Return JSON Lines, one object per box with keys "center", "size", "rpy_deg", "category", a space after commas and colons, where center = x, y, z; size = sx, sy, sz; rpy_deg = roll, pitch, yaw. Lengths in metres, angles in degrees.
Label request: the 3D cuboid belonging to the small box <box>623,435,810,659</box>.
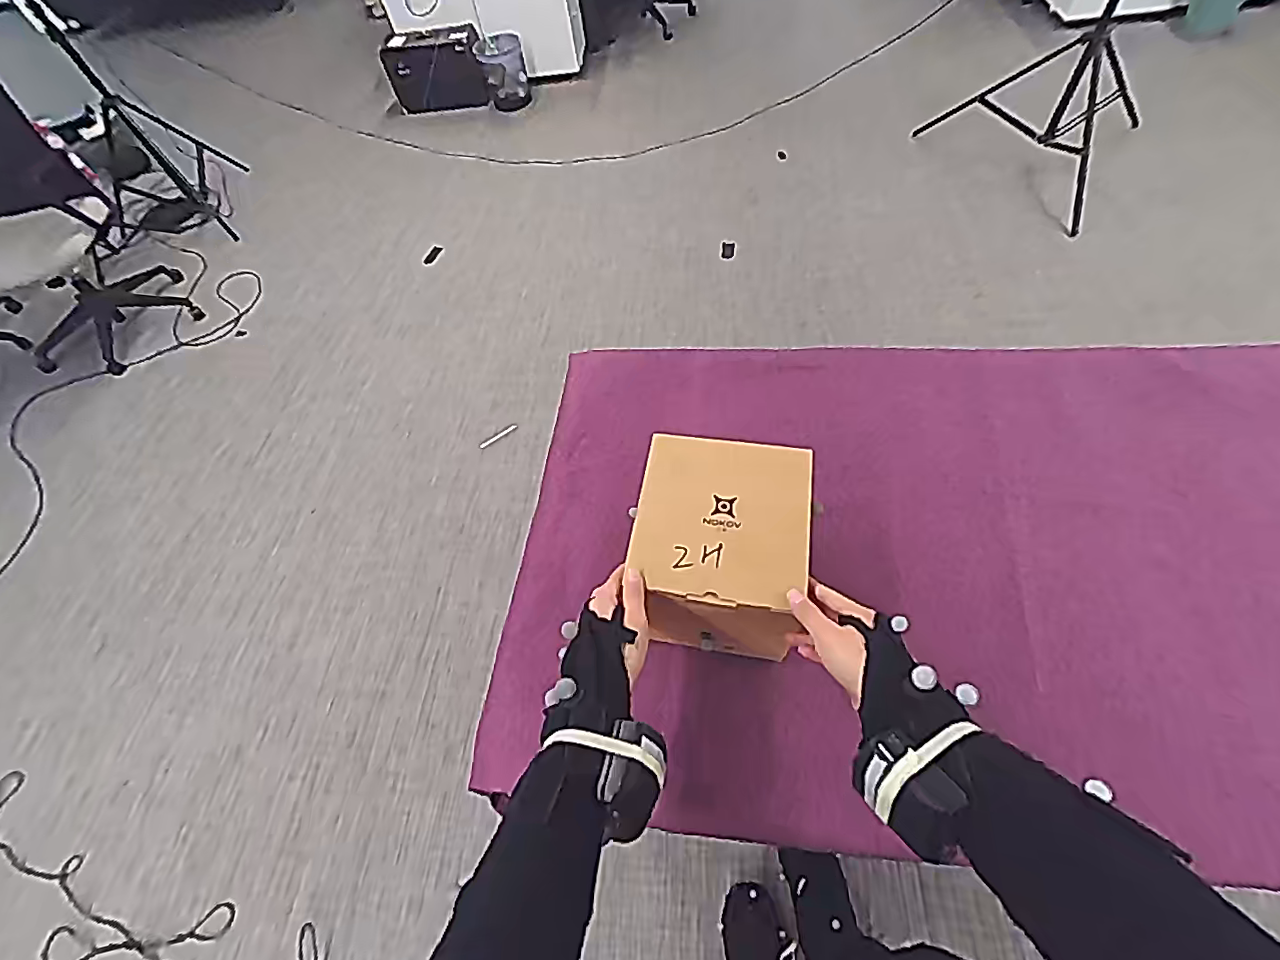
{"center": [0.085, 0.076, 0.591], "size": [0.168, 0.176, 0.179], "rpy_deg": [7, 59, 10], "category": "small box"}
